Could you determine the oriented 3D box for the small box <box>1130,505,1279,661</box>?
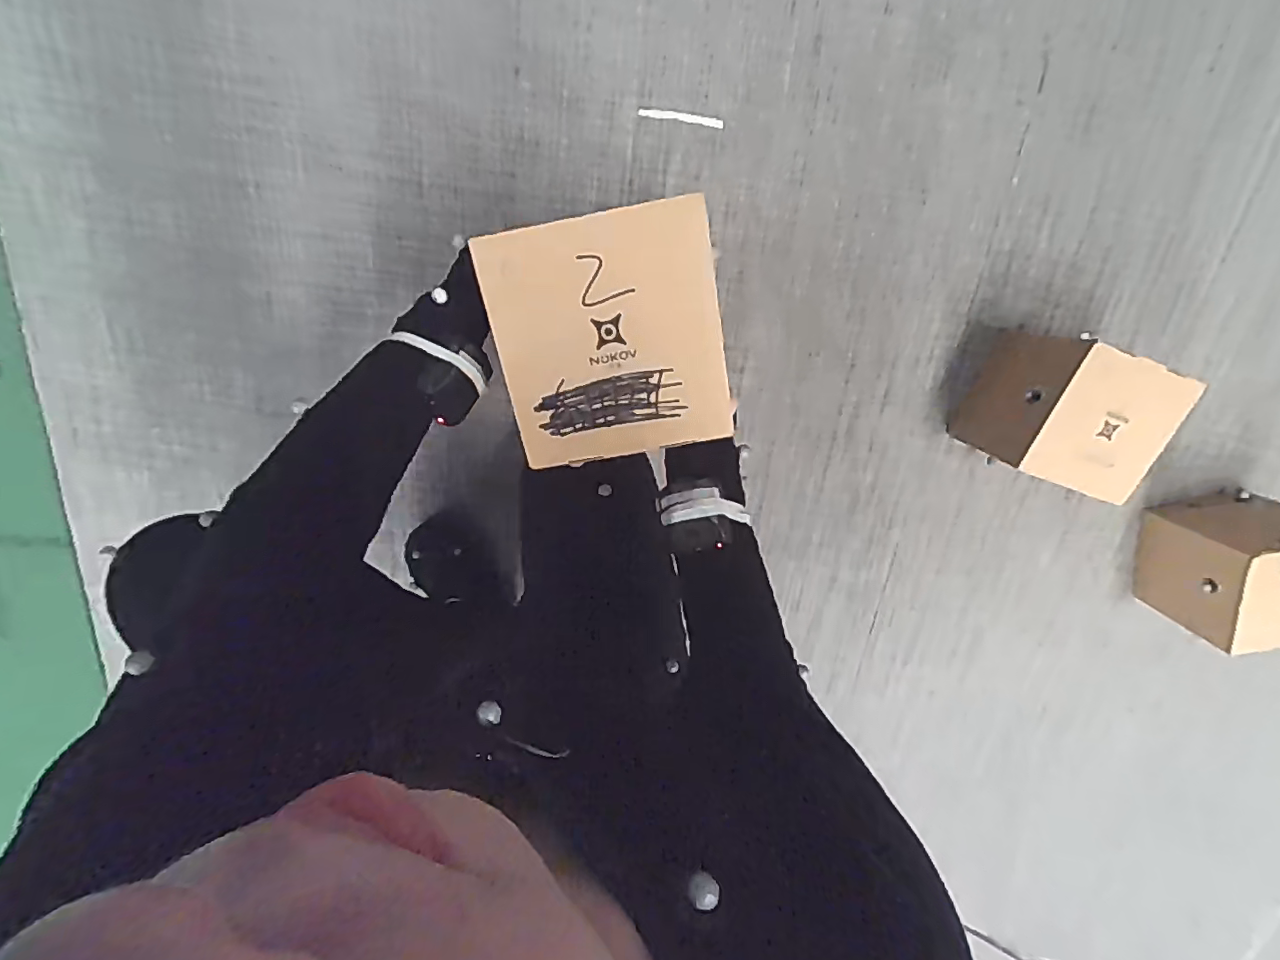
[{"bbox_3d":[0.930,0.150,0.854,0.168,0.176,0.179,-11,109,2],"label":"small box"}]

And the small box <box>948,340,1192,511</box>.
[{"bbox_3d":[0.580,-0.086,0.760,0.168,0.176,0.179,19,107,-8],"label":"small box"}]
